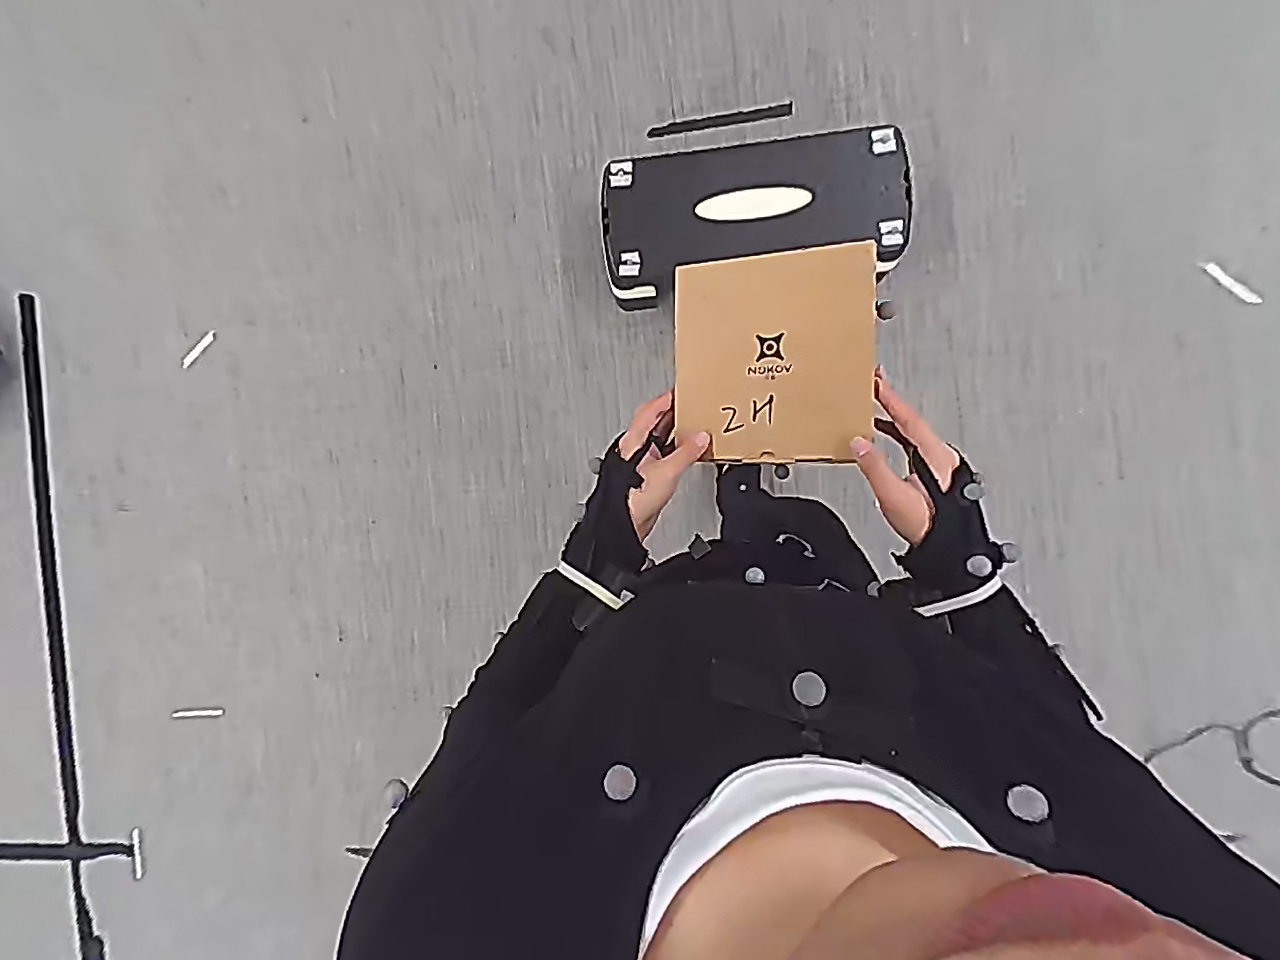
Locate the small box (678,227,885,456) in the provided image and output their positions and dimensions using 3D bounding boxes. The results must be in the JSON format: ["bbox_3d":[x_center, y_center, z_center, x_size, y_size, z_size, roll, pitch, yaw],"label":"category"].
[{"bbox_3d":[0.140,-0.113,0.522,0.168,0.176,0.179,1,92,21],"label":"small box"}]

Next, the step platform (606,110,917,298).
[{"bbox_3d":[0.263,-0.626,1.255,0.684,0.204,0.286,-5,90,6],"label":"step platform"}]
